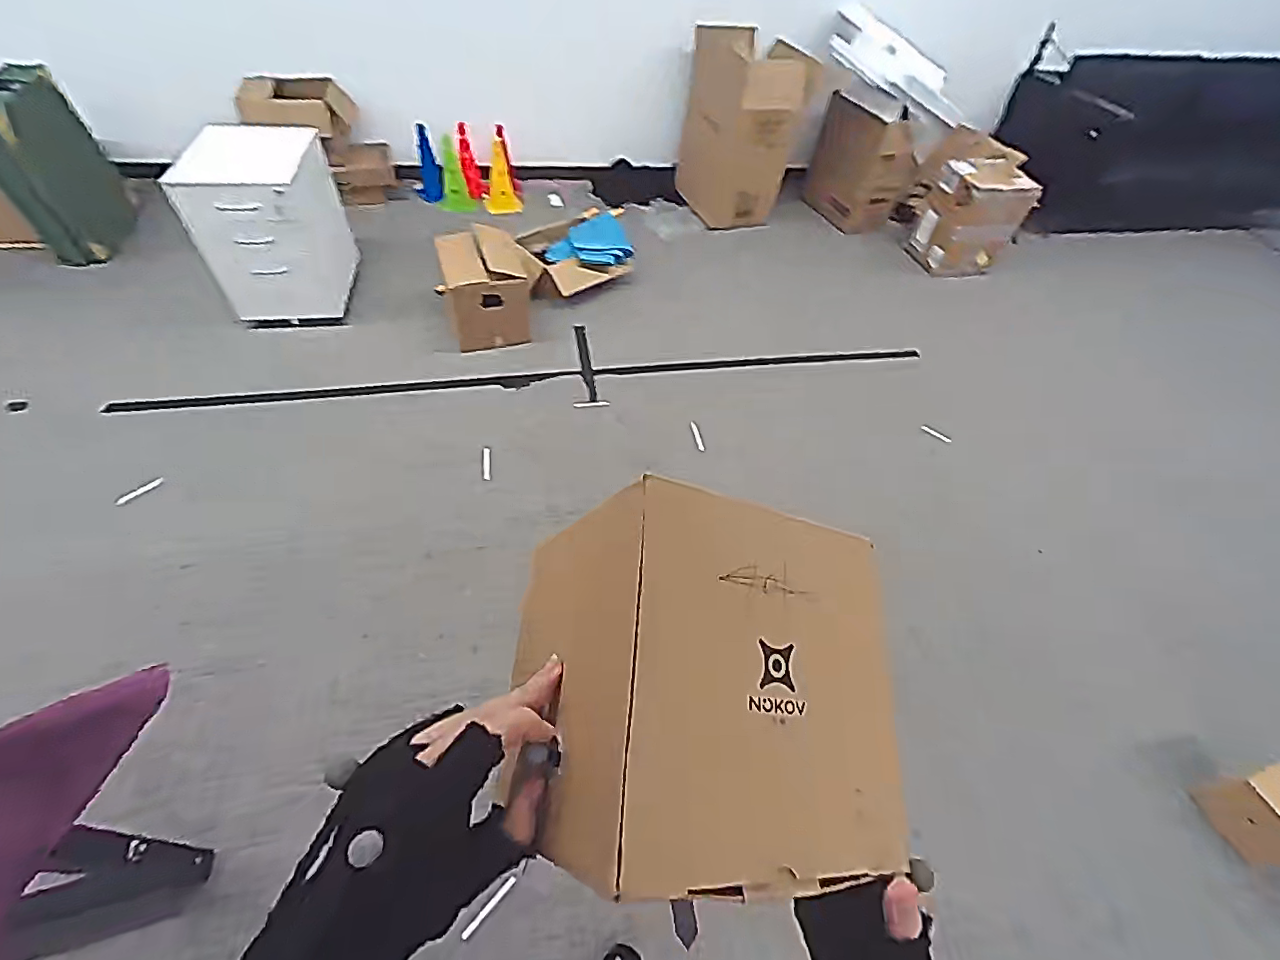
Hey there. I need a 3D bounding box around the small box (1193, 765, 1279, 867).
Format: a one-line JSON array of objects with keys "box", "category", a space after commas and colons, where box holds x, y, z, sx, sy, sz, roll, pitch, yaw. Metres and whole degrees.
[{"box": [1.560, 0.830, 1.334, 0.168, 0.176, 0.179, -11, 51, -15], "category": "small box"}]
